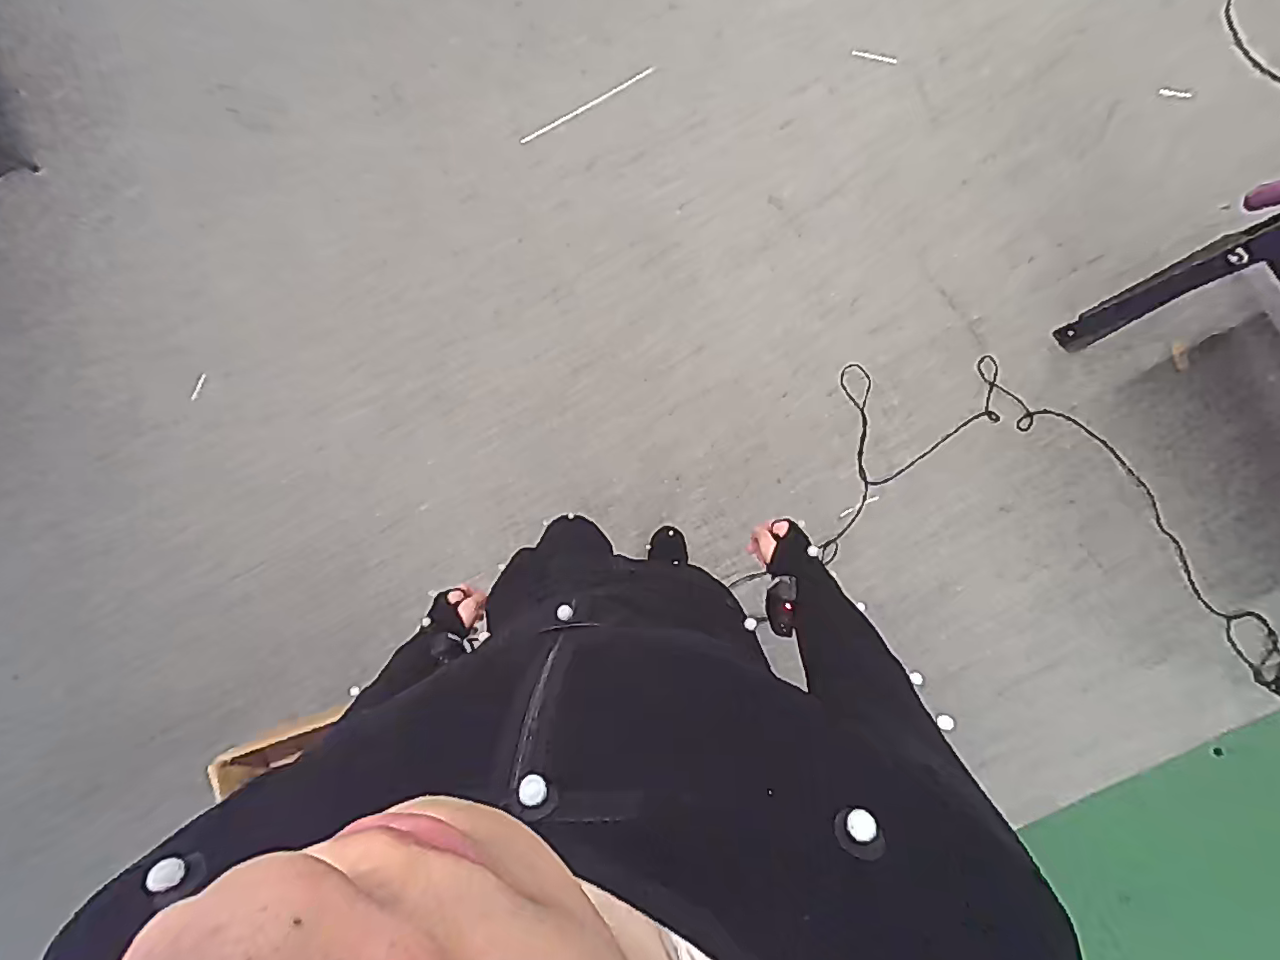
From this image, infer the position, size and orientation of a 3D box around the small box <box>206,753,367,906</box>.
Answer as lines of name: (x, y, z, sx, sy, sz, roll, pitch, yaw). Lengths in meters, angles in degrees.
small box: (-0.658, 0.649, 1.023, 0.179, 0.176, 0.168, -16, 86, 4)

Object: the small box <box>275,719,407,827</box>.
small box: (-0.647, 0.651, 1.186, 0.179, 0.176, 0.168, -15, 86, 4)
